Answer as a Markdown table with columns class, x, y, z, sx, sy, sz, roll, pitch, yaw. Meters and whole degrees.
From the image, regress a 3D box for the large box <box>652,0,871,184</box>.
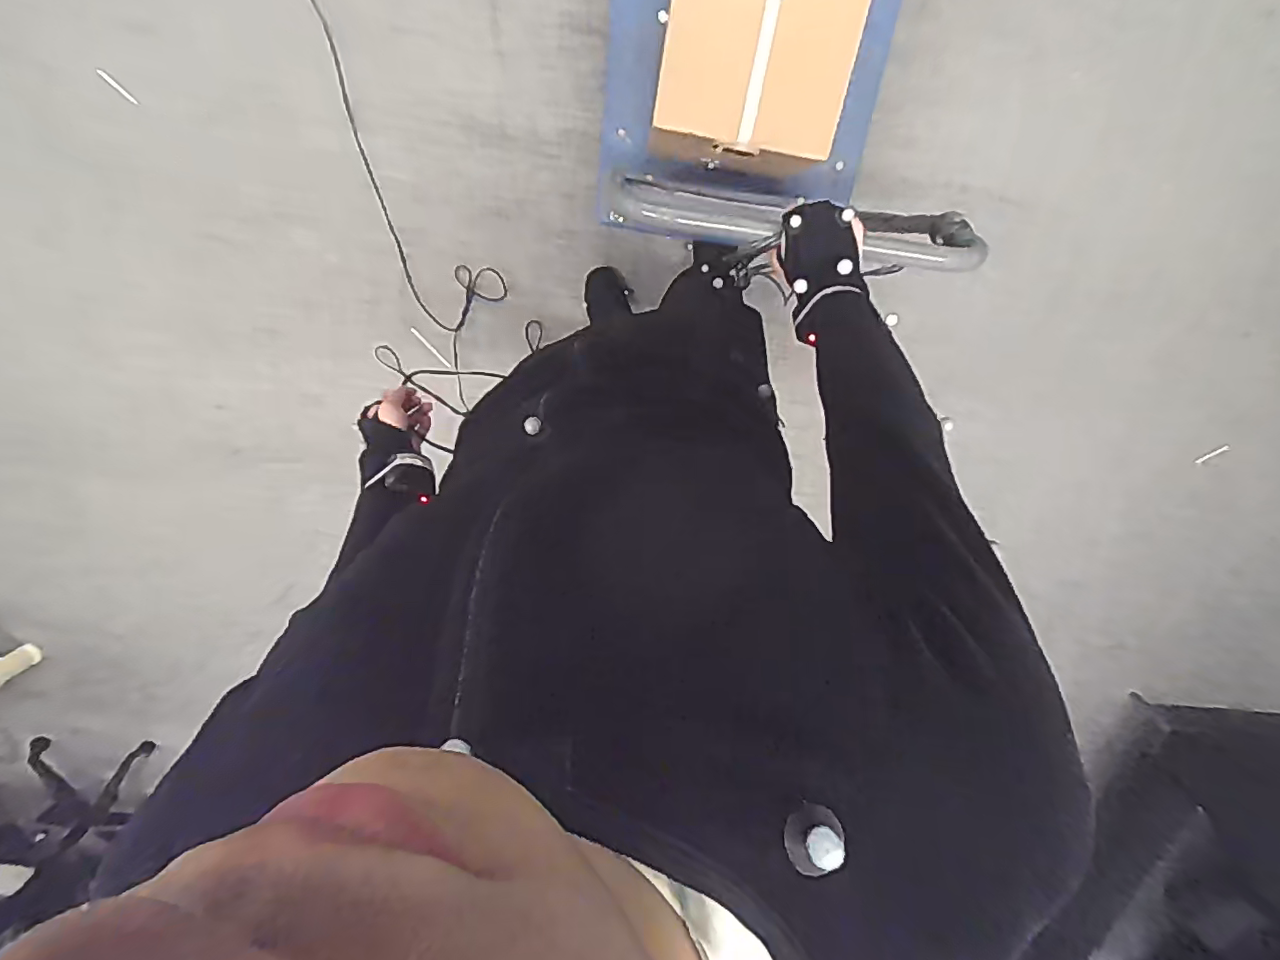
| class | x | y | z | sx | sy | sz | roll | pitch | yaw |
| --- | --- | --- | --- | --- | --- | --- | --- | --- | --- |
| large box | 0.204 | -0.801 | 0.985 | 0.320 | 0.320 | 0.408 | 9 | 113 | -5 |
